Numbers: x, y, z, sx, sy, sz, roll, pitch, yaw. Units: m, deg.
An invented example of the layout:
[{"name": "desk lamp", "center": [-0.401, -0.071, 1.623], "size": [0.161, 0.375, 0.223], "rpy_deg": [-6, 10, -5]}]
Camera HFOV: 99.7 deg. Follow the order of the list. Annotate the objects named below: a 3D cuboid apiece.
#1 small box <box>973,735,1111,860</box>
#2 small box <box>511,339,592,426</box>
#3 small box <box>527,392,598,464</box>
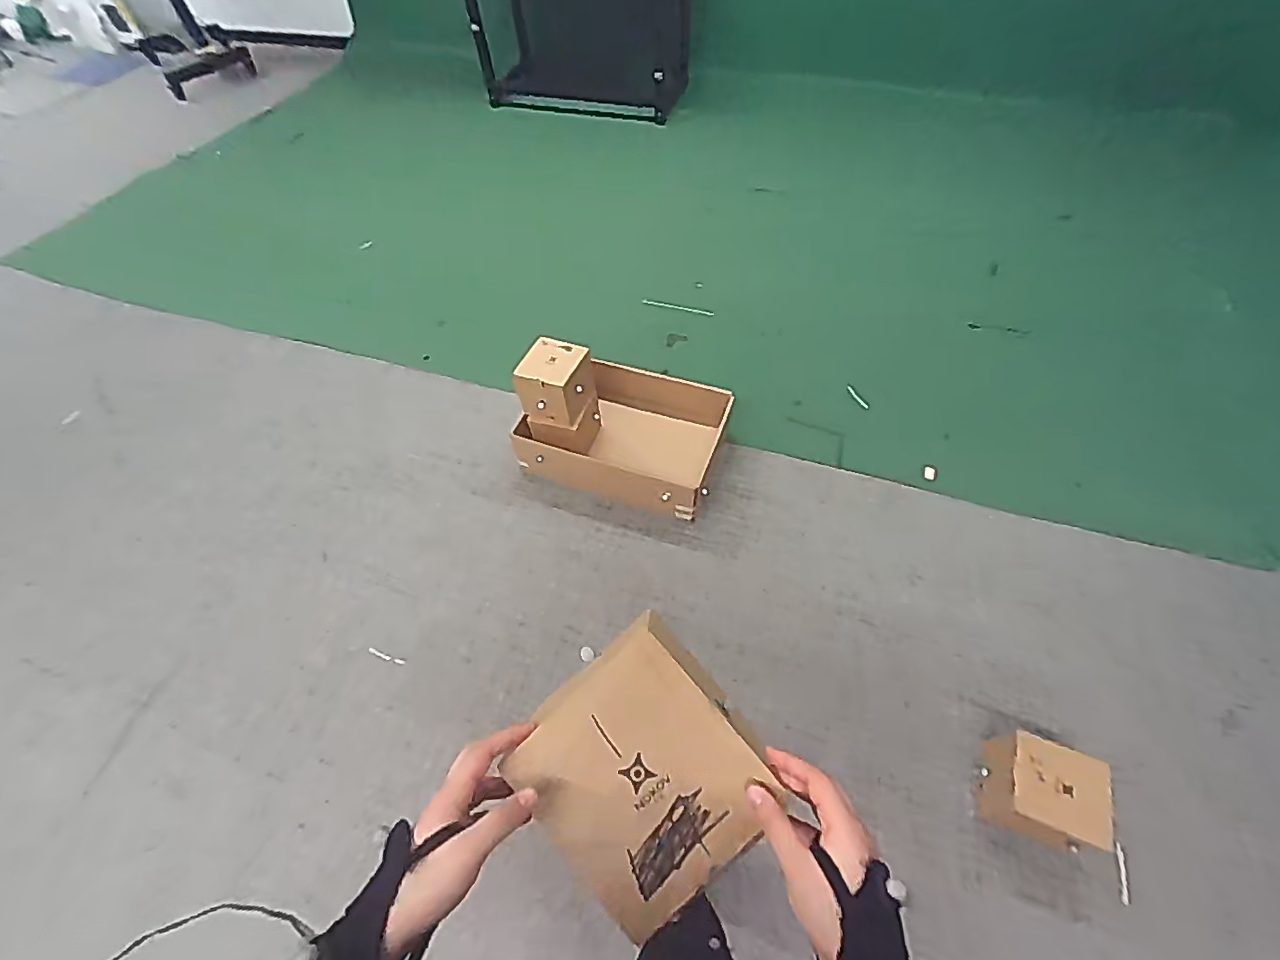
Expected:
[{"name": "small box", "center": [0.843, 0.670, 1.145], "size": [0.179, 0.176, 0.168], "rpy_deg": [19, 57, 16]}, {"name": "small box", "center": [-0.253, -0.287, 1.614], "size": [0.168, 0.176, 0.179], "rpy_deg": [18, 59, 15]}, {"name": "small box", "center": [-0.241, -0.181, 1.740], "size": [0.168, 0.176, 0.179], "rpy_deg": [13, 58, 12]}]
